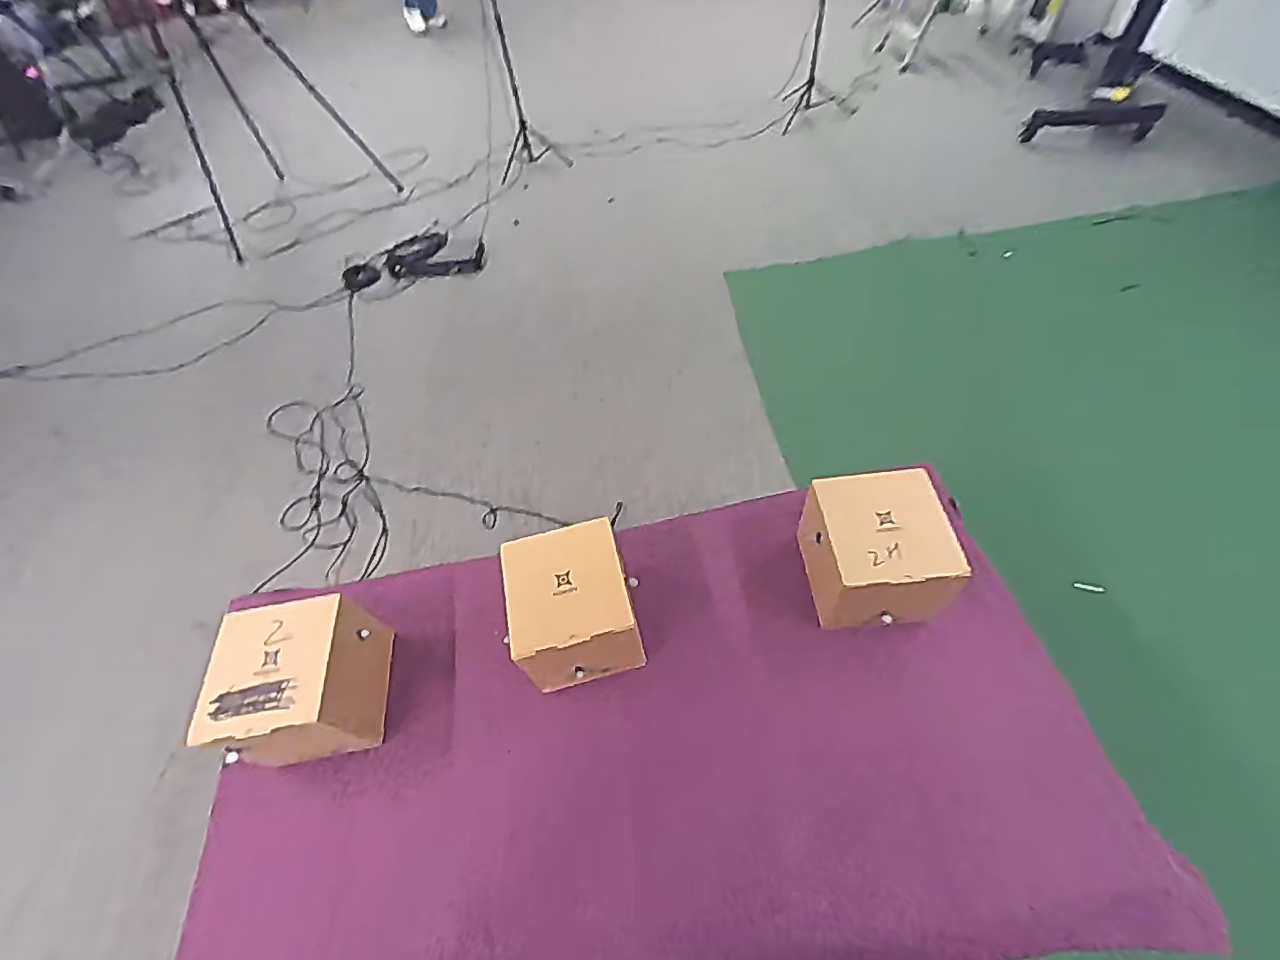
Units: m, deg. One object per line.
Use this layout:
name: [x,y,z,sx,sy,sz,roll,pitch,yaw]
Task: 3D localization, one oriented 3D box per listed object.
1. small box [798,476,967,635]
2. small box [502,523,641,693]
small box: [0.346,0.116,0.817,0.168,0.176,0.179,-6,55,3]
small box: [-0.099,0.194,0.809,0.168,0.176,0.179,-14,56,-5]
